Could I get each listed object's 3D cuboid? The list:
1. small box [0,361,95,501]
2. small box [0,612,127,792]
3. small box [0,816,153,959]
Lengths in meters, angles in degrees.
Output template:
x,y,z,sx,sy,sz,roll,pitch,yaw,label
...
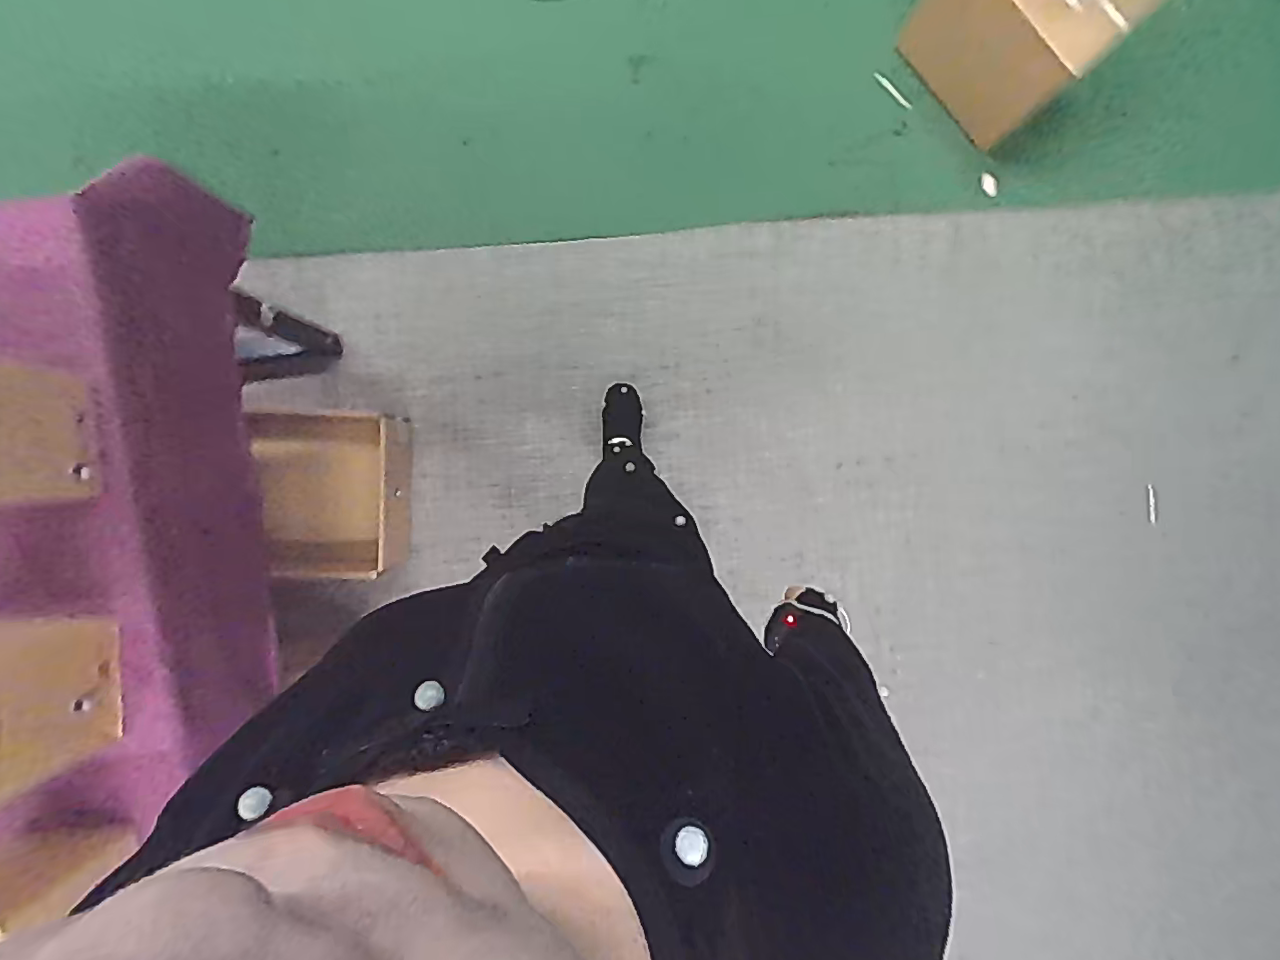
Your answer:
x,y,z,sx,sy,sz,roll,pitch,yaw,label
-0.812,-0.054,0.646,0.179,0.176,0.168,-5,93,-2,small box
-0.793,0.266,0.662,0.179,0.176,0.168,0,92,-4,small box
-0.760,0.562,0.673,0.168,0.176,0.179,-5,93,-3,small box
